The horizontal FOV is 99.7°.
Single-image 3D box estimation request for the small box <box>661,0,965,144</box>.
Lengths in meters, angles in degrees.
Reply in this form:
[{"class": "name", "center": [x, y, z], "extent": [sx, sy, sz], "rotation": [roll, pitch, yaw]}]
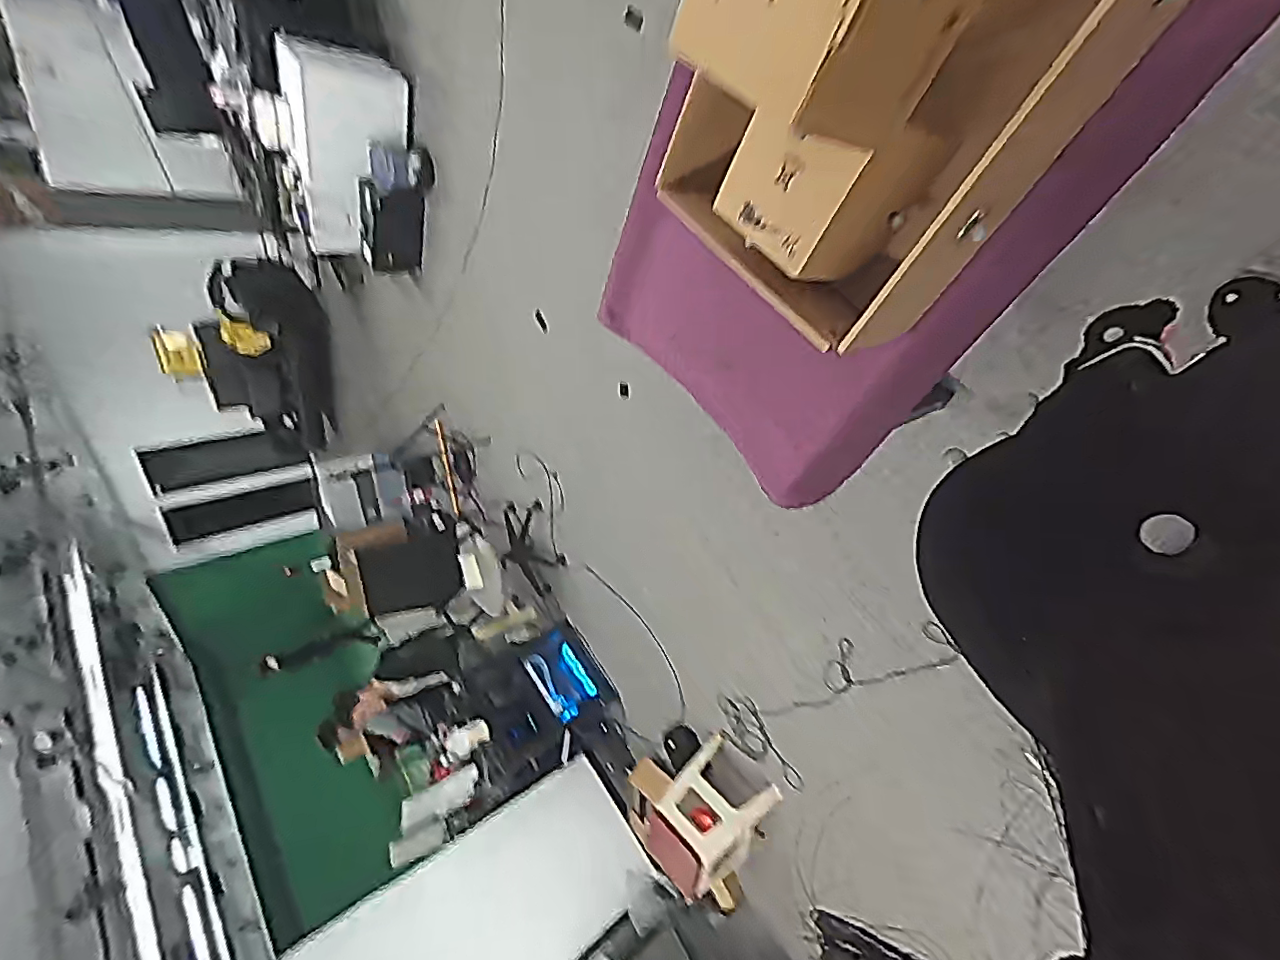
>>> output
[{"class": "small box", "center": [0.155, -0.416, 0.467], "extent": [0.179, 0.176, 0.168], "rotation": [52, 138, 25]}]
